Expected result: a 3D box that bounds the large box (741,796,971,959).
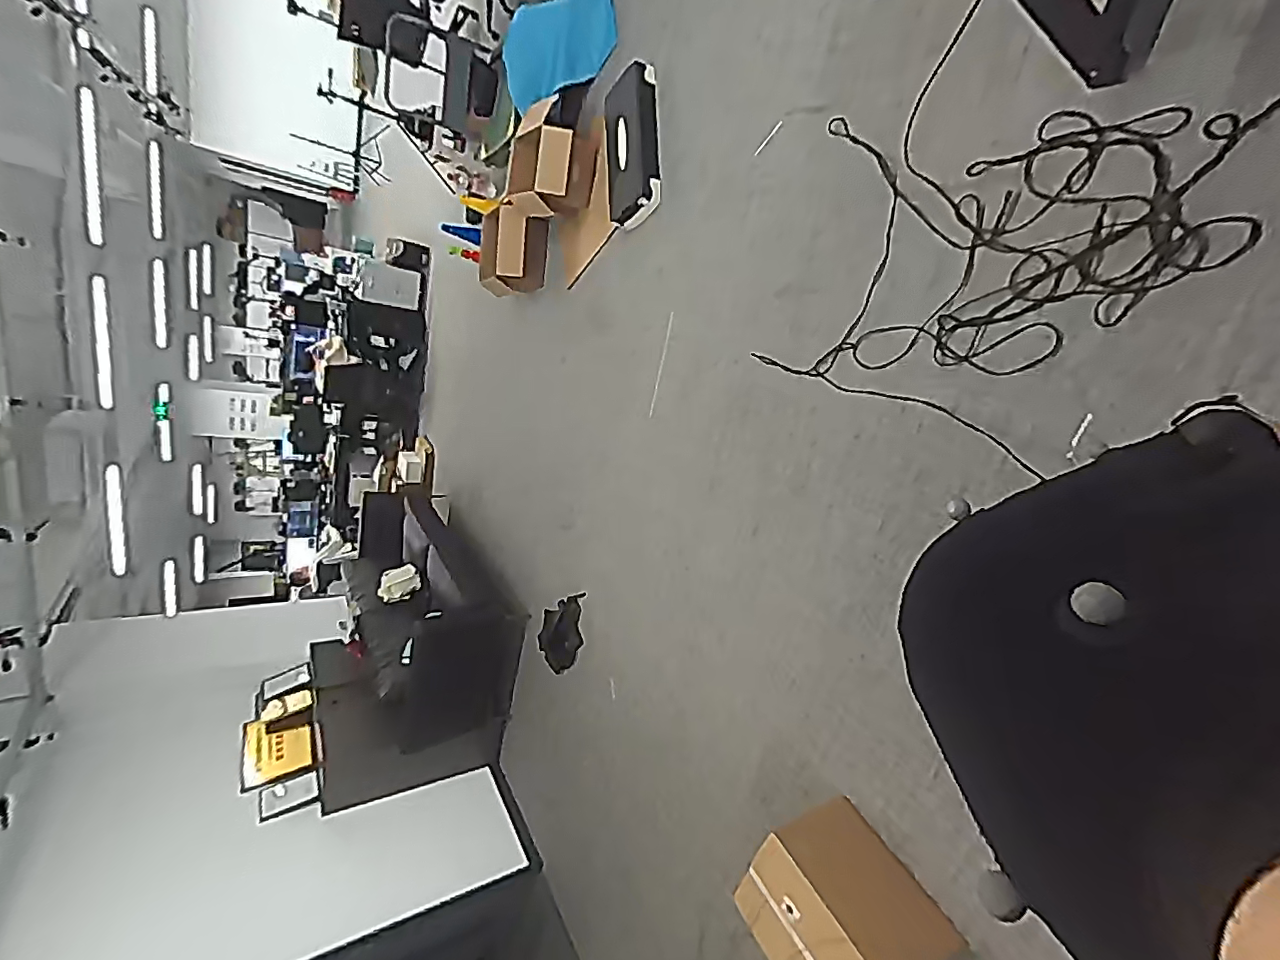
[{"bbox_3d":[0.547,1.147,1.423,0.408,0.320,0.320,45,125,48],"label":"large box"}]
